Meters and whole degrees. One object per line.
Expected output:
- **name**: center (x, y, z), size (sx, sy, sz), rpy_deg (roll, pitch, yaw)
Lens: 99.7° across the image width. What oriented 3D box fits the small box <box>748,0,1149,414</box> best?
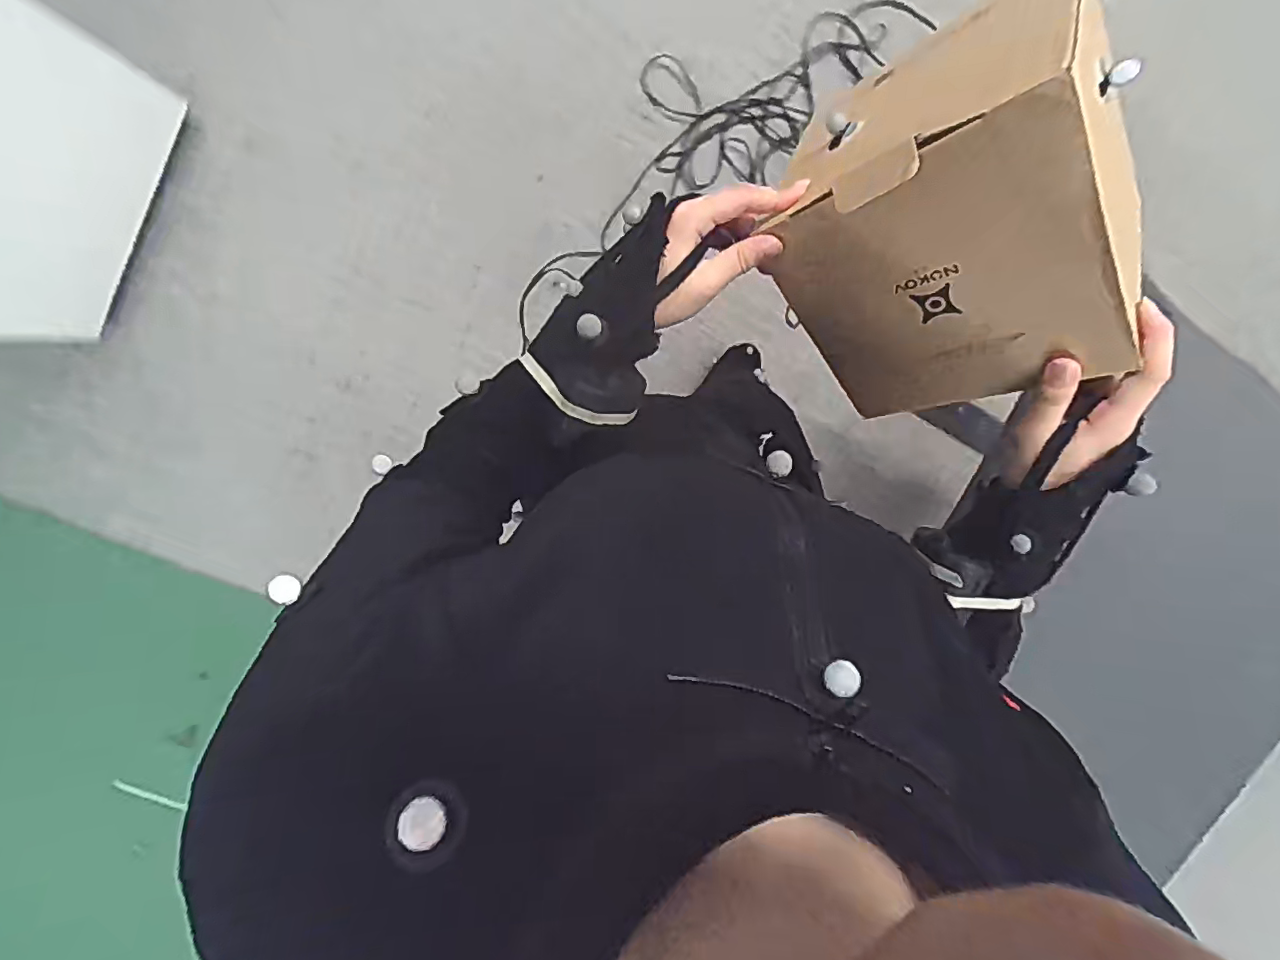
- **small box**: center (0.204, -0.175, 0.356), size (0.179, 0.168, 0.176), rpy_deg (41, 60, -28)
